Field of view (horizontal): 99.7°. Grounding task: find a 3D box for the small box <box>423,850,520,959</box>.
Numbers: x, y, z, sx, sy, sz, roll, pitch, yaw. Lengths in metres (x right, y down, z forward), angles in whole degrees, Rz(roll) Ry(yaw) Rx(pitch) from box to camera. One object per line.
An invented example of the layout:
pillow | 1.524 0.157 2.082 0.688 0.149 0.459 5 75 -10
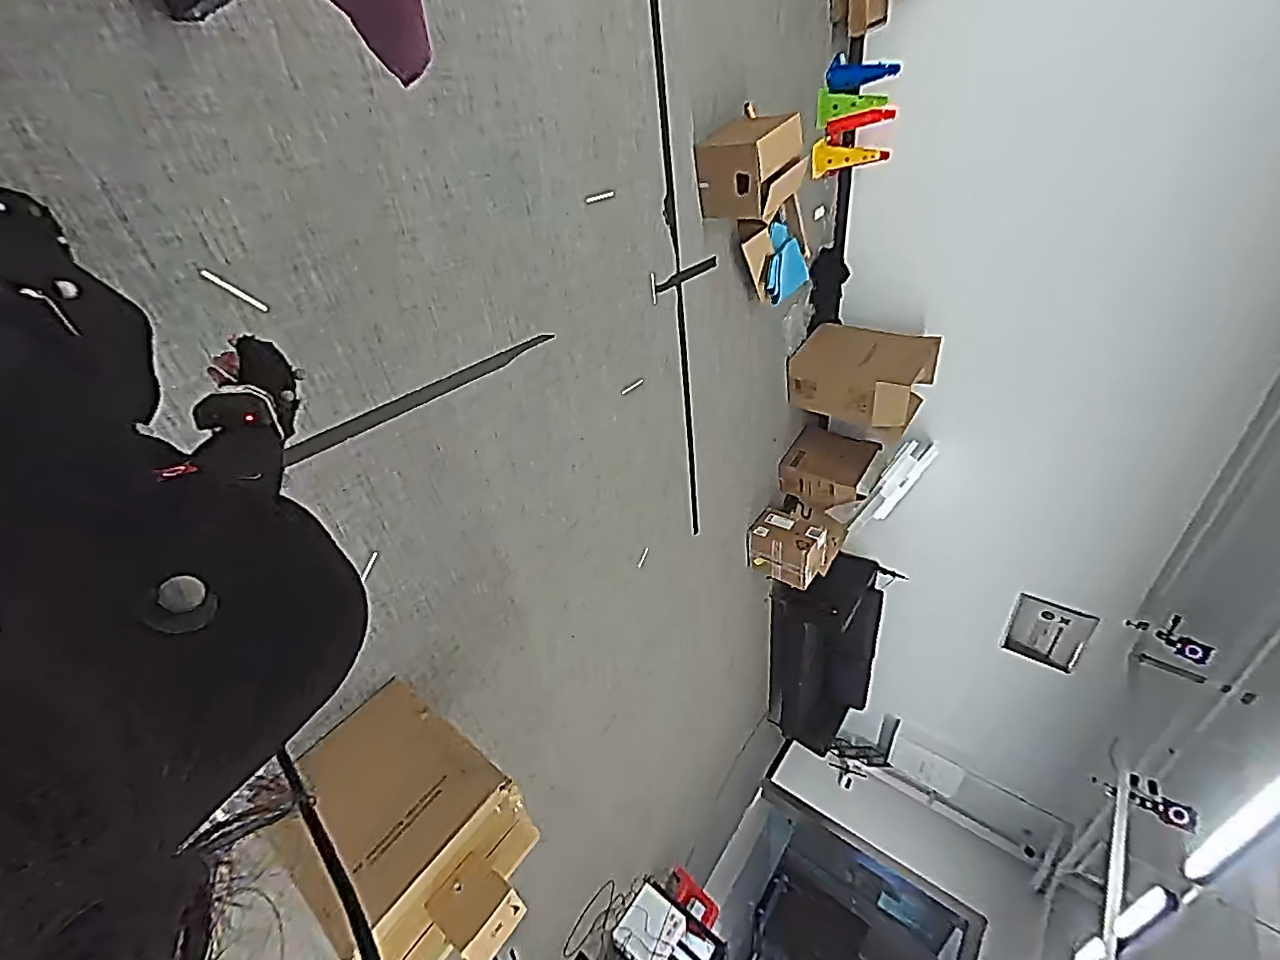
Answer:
small box | -0.464 1.168 1.471 0.179 0.176 0.168 -39 135 -37
